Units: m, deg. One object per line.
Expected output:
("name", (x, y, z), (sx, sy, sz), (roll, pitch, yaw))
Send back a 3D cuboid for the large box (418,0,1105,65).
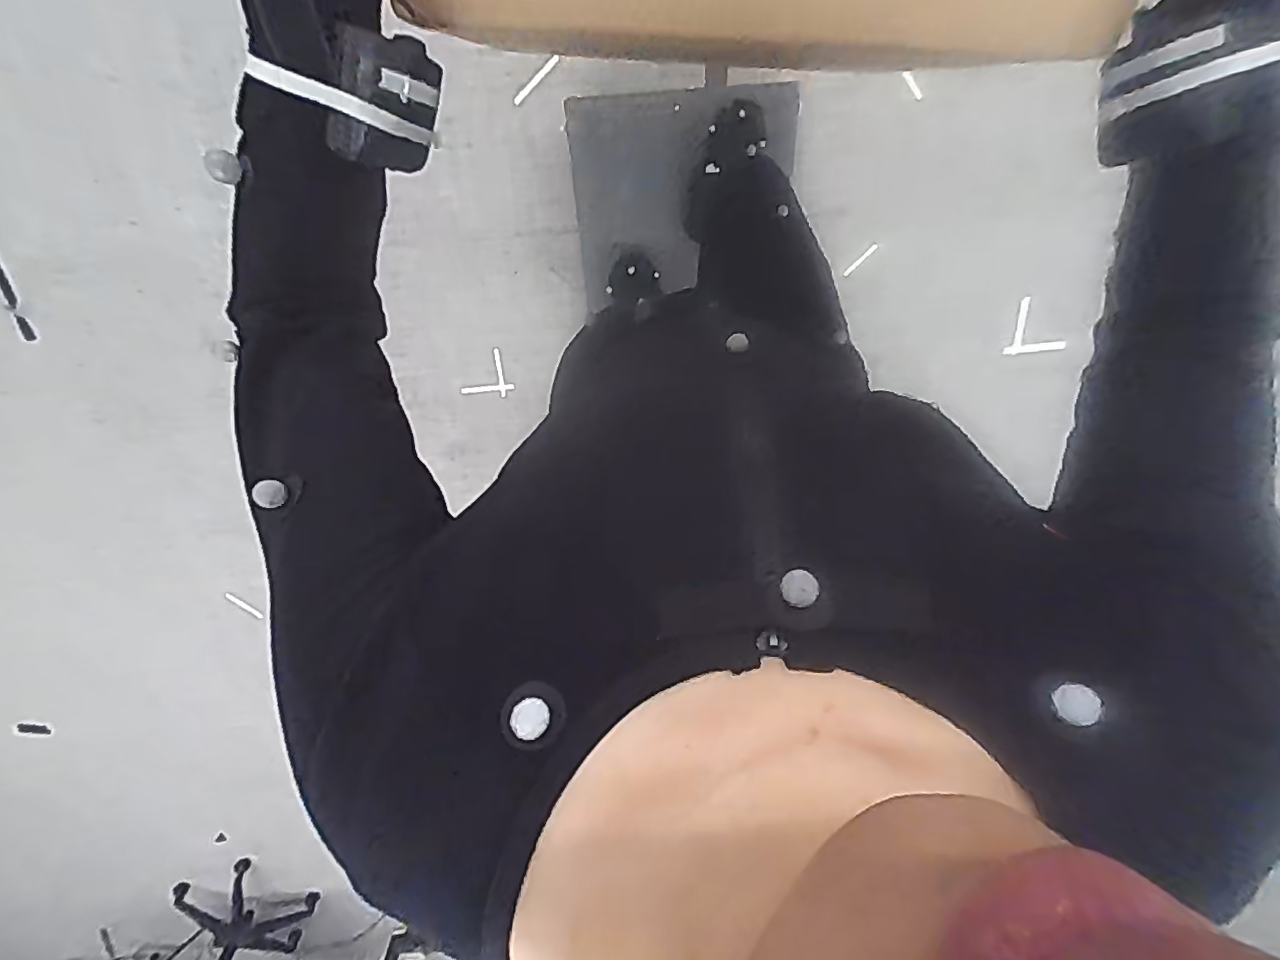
("large box", (0.068, -0.473, 0.349), (0.408, 0.320, 0.320), (0, 126, -3))
